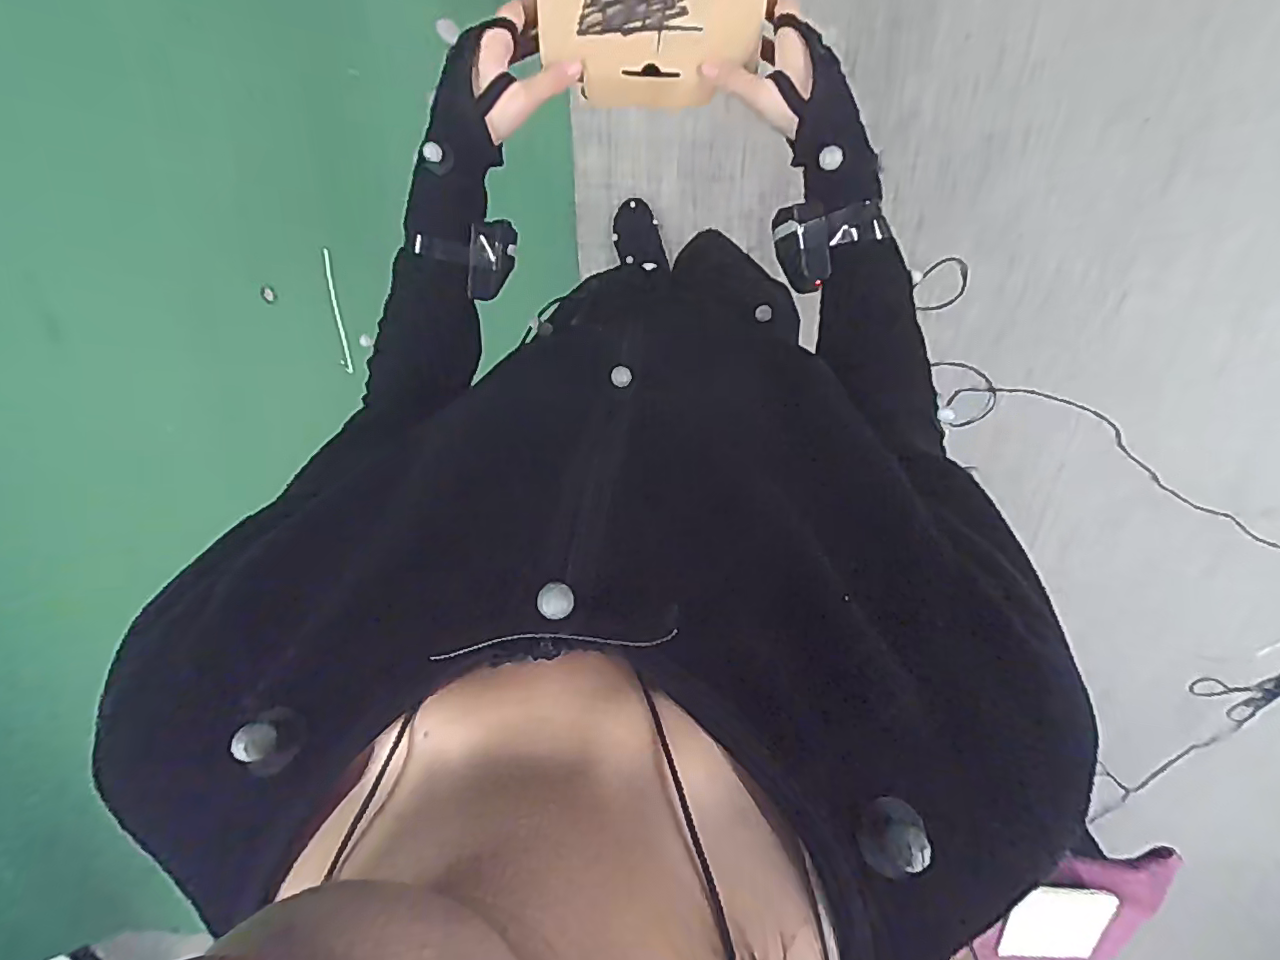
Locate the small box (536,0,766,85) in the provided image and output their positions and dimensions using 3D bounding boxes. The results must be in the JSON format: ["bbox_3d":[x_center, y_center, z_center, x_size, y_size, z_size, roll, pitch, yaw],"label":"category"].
[{"bbox_3d":[0.007,-0.423,0.423,0.168,0.176,0.179,0,123,-4],"label":"small box"}]
